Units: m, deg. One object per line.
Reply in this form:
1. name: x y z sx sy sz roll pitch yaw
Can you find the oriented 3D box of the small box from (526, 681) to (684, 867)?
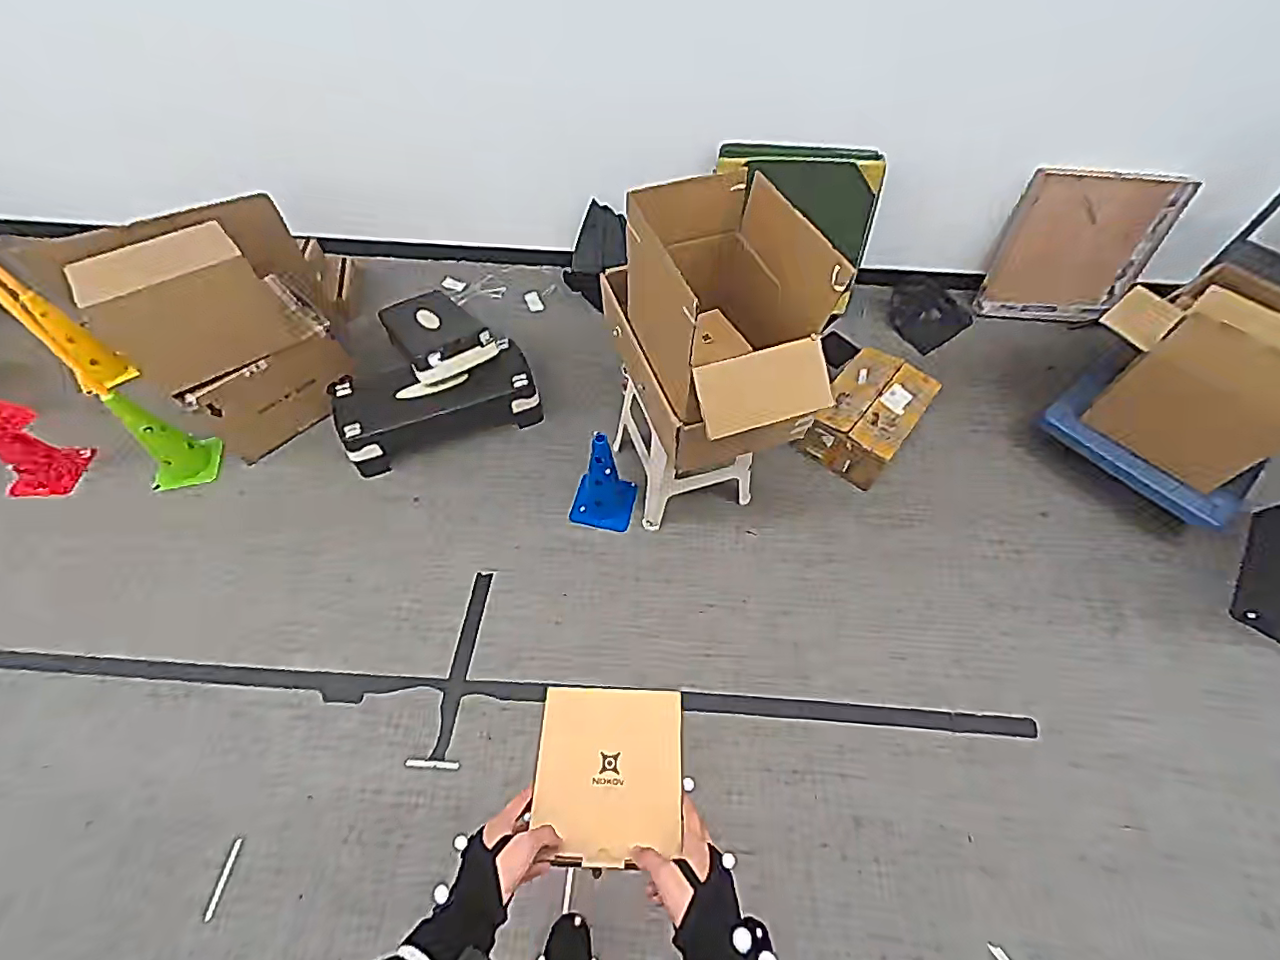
1. small box: -0.036 0.369 0.675 0.168 0.176 0.179 3 54 1
